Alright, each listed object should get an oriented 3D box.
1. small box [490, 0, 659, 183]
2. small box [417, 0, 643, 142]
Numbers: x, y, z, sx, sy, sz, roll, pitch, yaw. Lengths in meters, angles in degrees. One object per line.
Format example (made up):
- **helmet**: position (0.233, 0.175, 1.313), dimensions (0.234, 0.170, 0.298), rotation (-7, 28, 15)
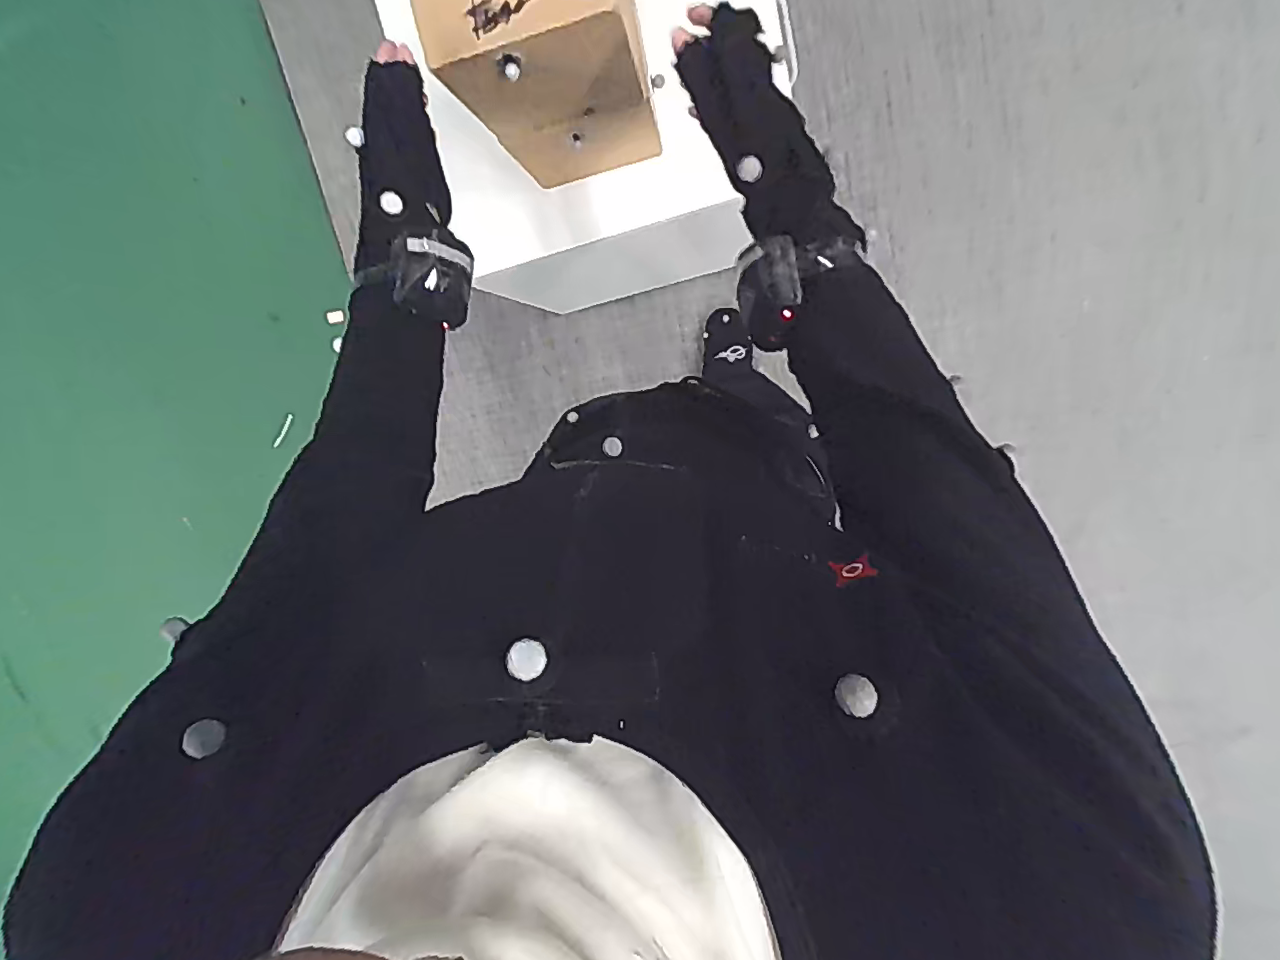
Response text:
- **small box**: position (-0.083, -0.487, 0.653), dimensions (0.179, 0.176, 0.168), rotation (-11, 101, 10)
- **small box**: position (-0.101, -0.454, 0.497), dimensions (0.168, 0.176, 0.179), rotation (-12, 102, 10)
